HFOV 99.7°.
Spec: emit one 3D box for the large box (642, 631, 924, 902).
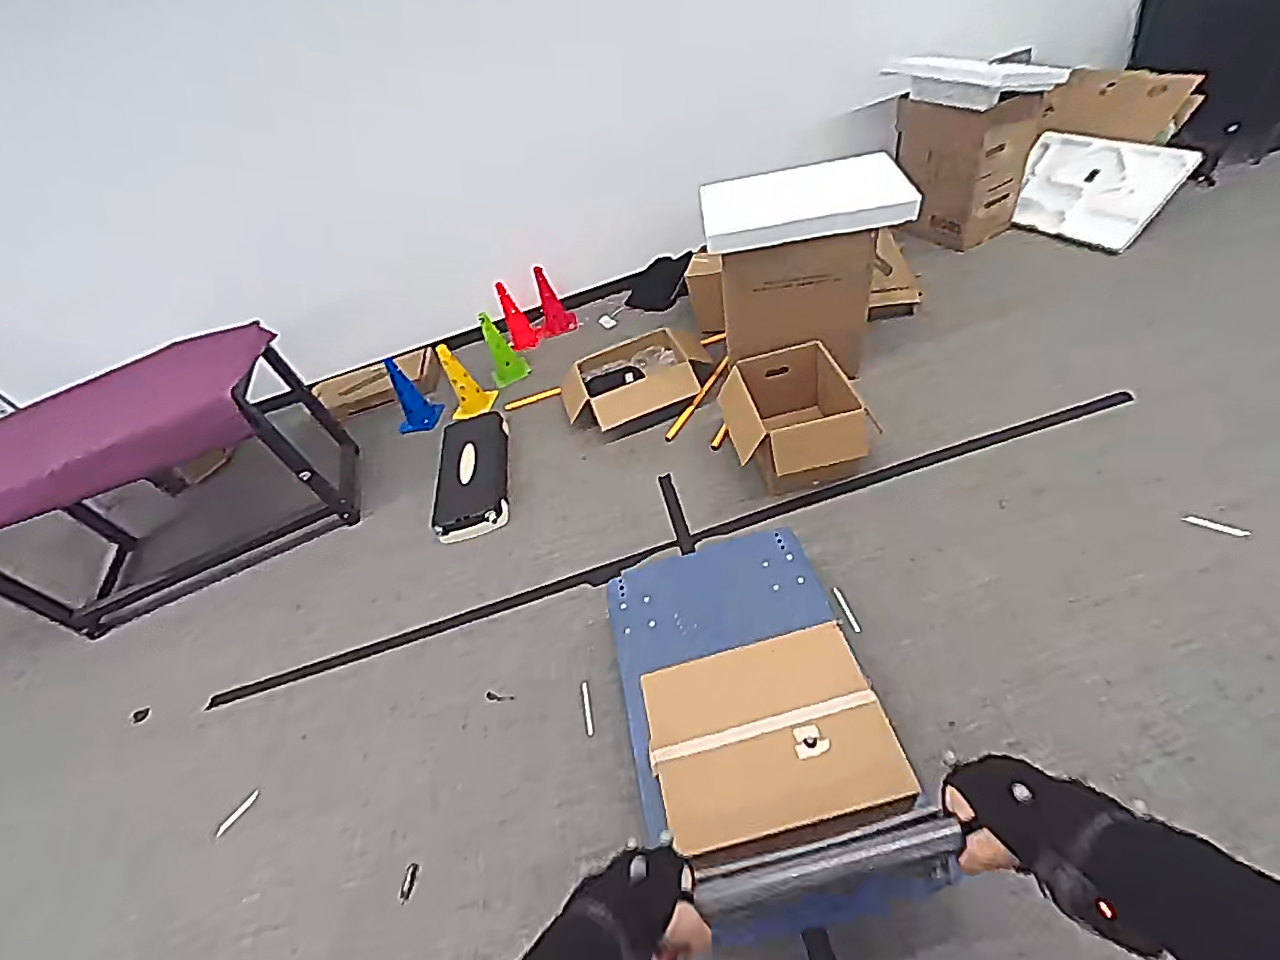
[{"bbox_3d":[0.250,0.550,1.037,0.408,0.320,0.320,-16,45,1],"label":"large box"}]
